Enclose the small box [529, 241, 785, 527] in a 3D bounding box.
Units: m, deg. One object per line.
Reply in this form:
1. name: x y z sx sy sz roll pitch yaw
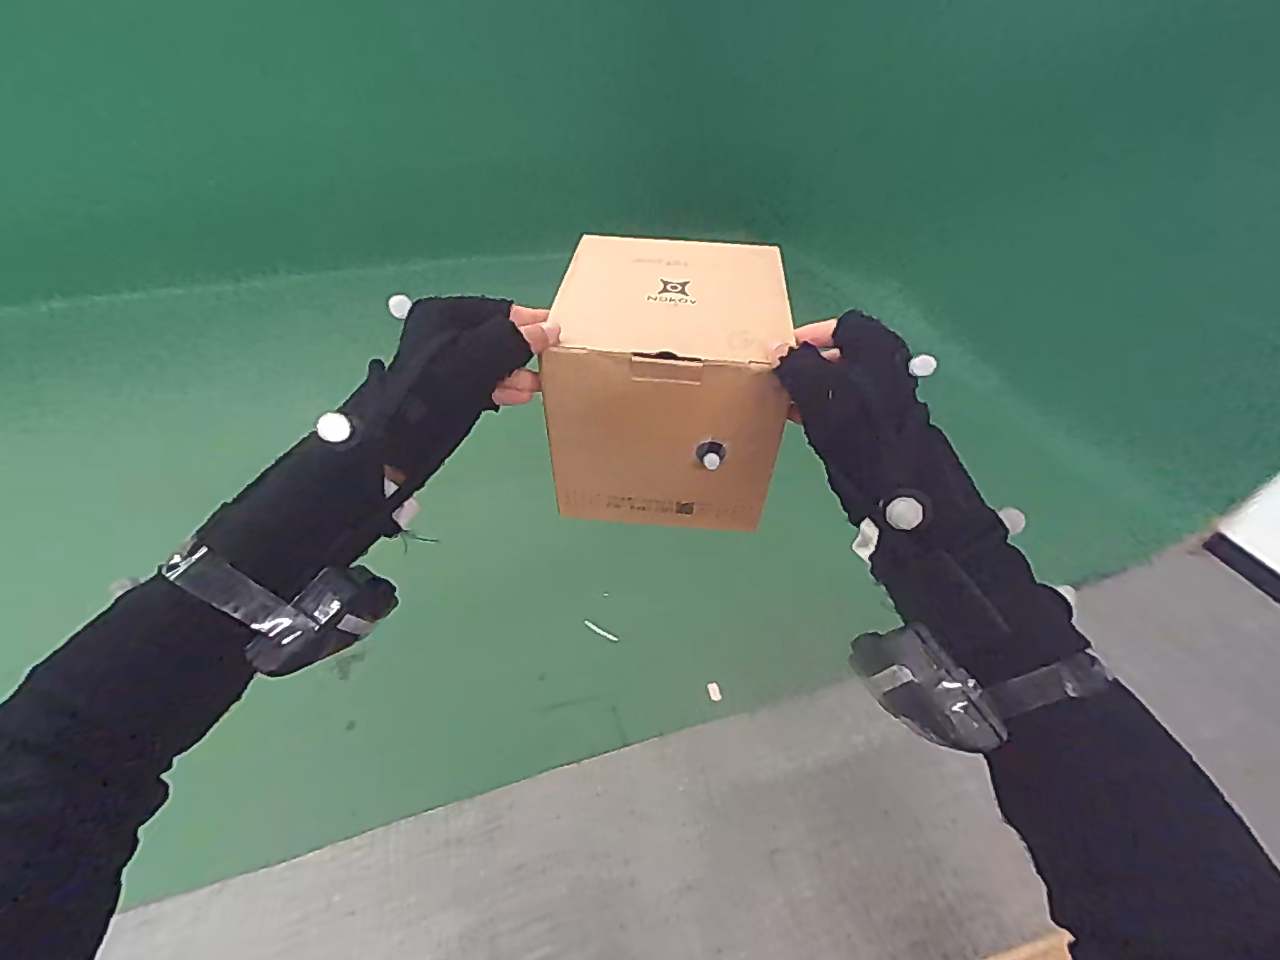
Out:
1. small box: 0.015 -0.079 0.452 0.168 0.176 0.179 4 45 2
